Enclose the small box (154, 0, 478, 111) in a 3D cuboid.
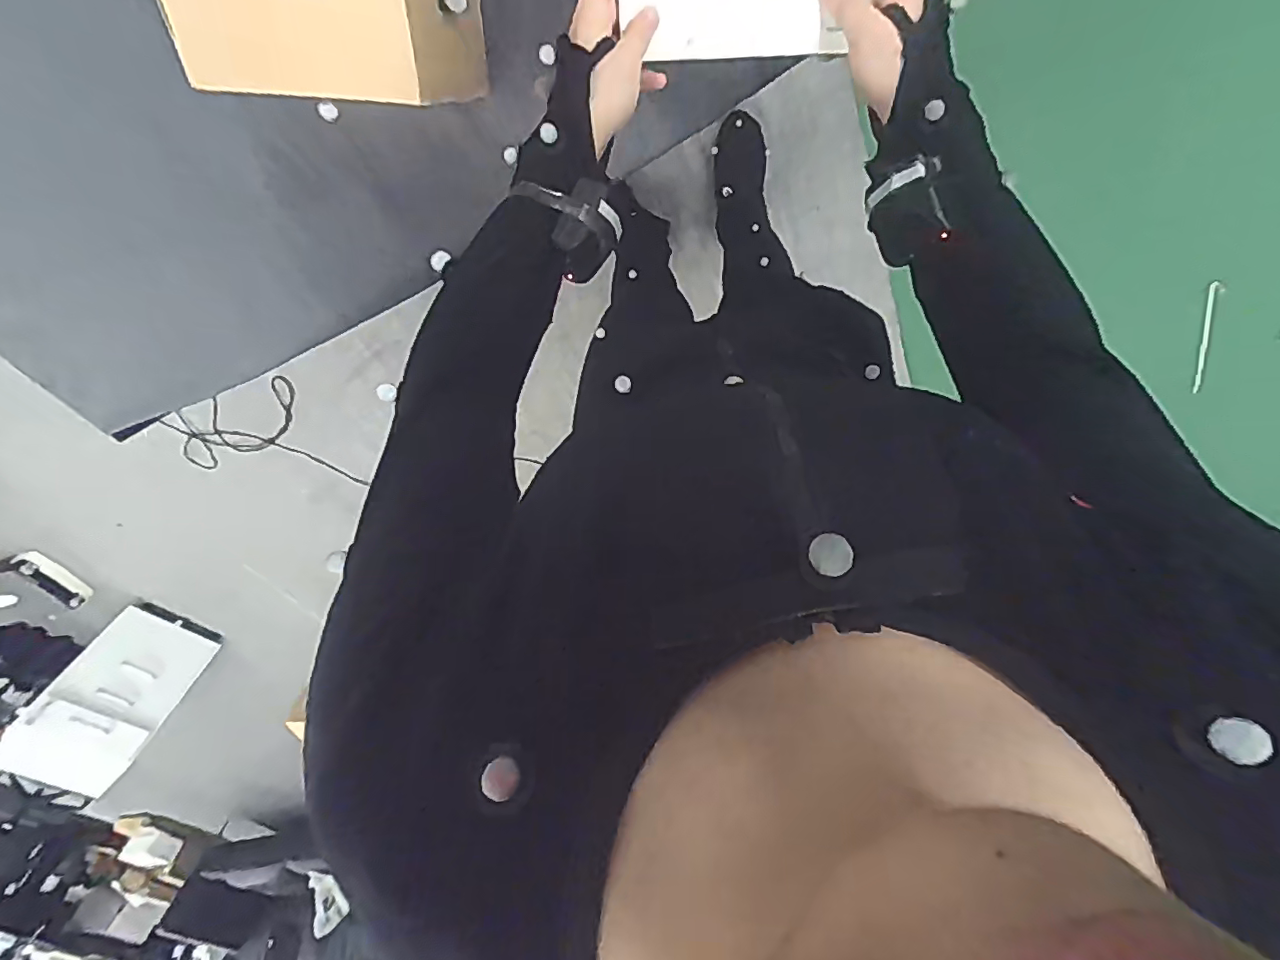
[{"bbox_3d":[-0.232,-0.387,0.402,0.179,0.176,0.168,5,129,3],"label":"small box"}]
